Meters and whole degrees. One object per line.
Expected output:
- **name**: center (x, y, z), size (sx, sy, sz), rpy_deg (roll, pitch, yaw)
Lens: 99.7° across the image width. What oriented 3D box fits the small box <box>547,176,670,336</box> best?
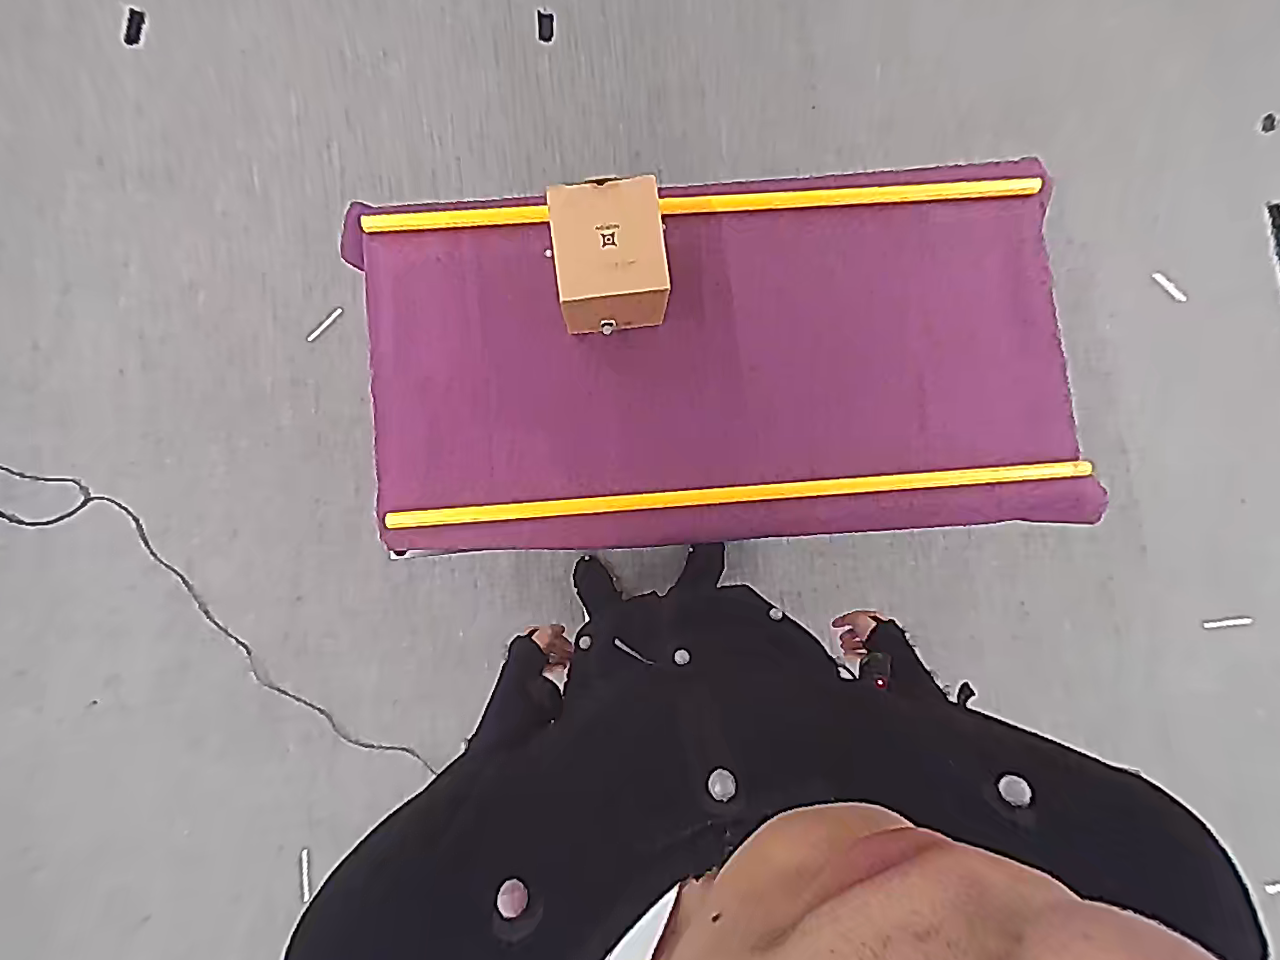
- **small box**: center (-0.050, -0.349, 0.869), size (0.168, 0.176, 0.179), rpy_deg (-8, 87, -2)
